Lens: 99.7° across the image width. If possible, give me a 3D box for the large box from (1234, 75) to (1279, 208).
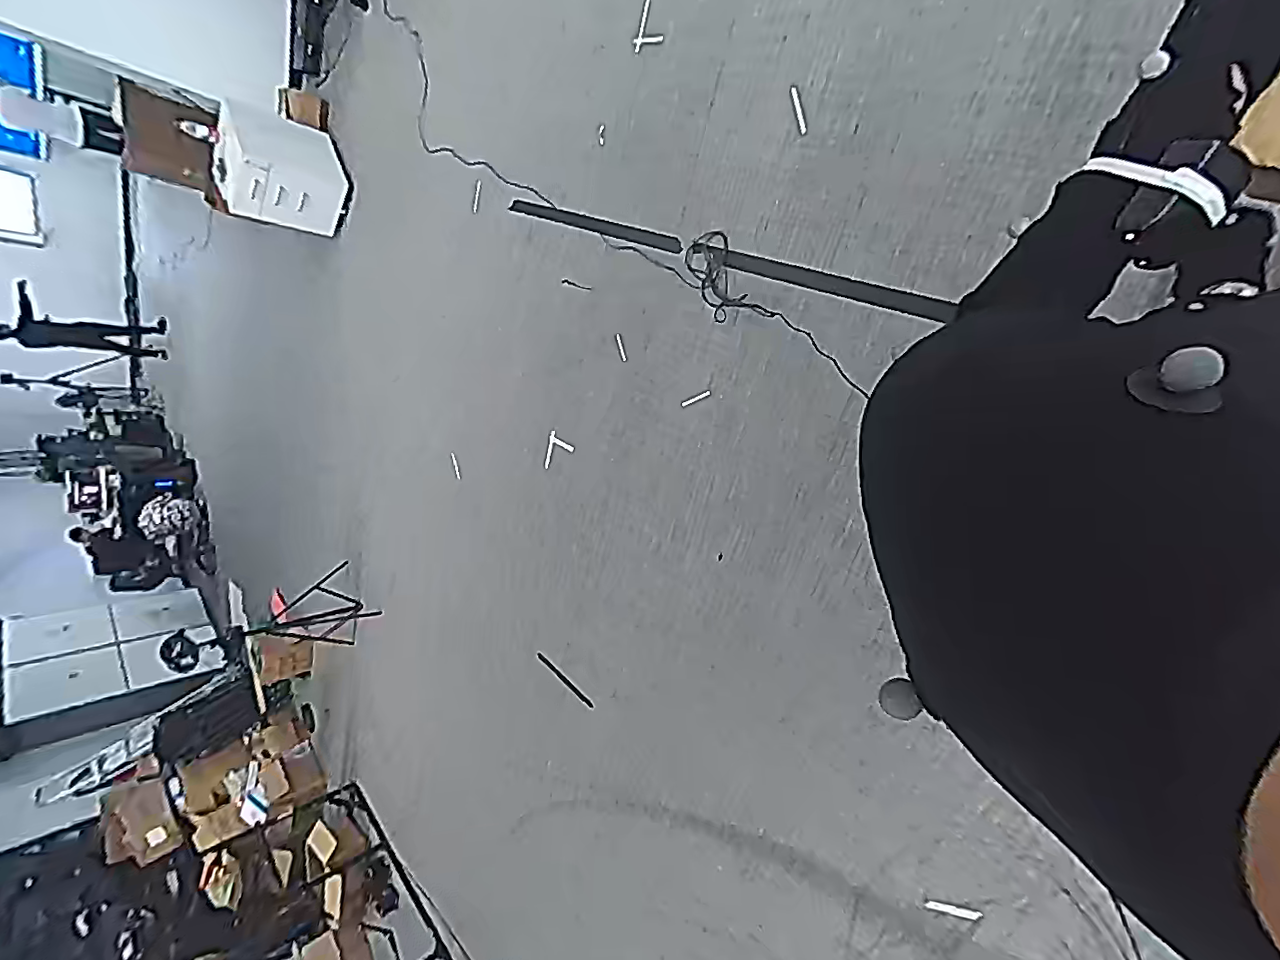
[{"bbox_3d":[0.676,-0.289,0.282,0.408,0.320,0.320,38,131,35],"label":"large box"}]
